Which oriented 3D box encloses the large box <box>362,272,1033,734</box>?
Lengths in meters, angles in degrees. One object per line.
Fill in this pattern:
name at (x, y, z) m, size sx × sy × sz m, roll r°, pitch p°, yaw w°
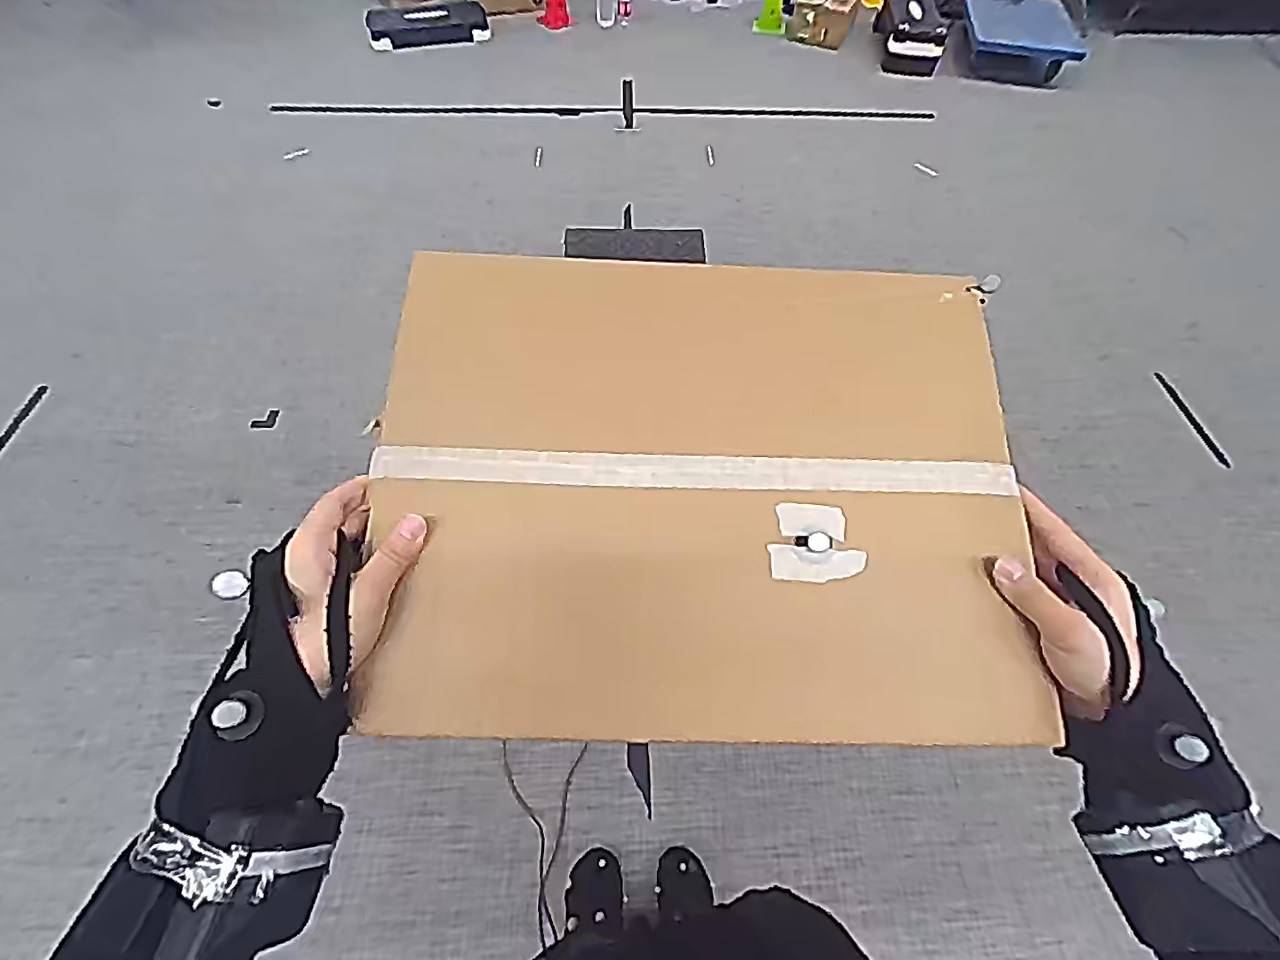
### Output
large box at (0.031, 0.041, 0.498) m, size 0.408 × 0.320 × 0.320 m, roll 2°, pitch 74°, yaw -2°
